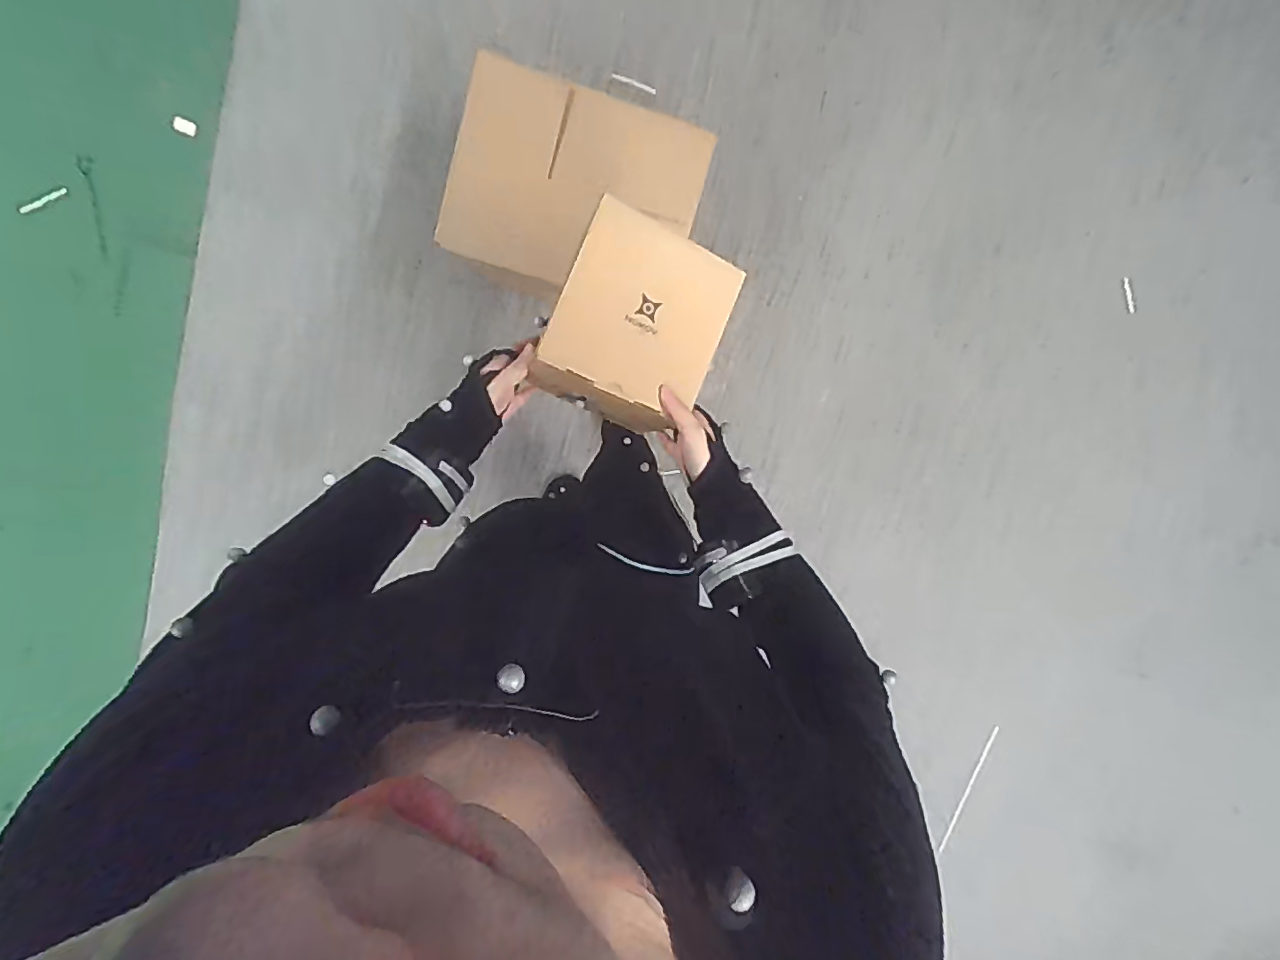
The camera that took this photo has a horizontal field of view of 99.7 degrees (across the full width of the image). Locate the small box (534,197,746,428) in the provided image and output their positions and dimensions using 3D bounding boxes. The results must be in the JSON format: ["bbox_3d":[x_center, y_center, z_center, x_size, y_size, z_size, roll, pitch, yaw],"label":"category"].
[{"bbox_3d":[-0.014,-0.170,0.614,0.168,0.176,0.179,23,88,-16],"label":"small box"}]
